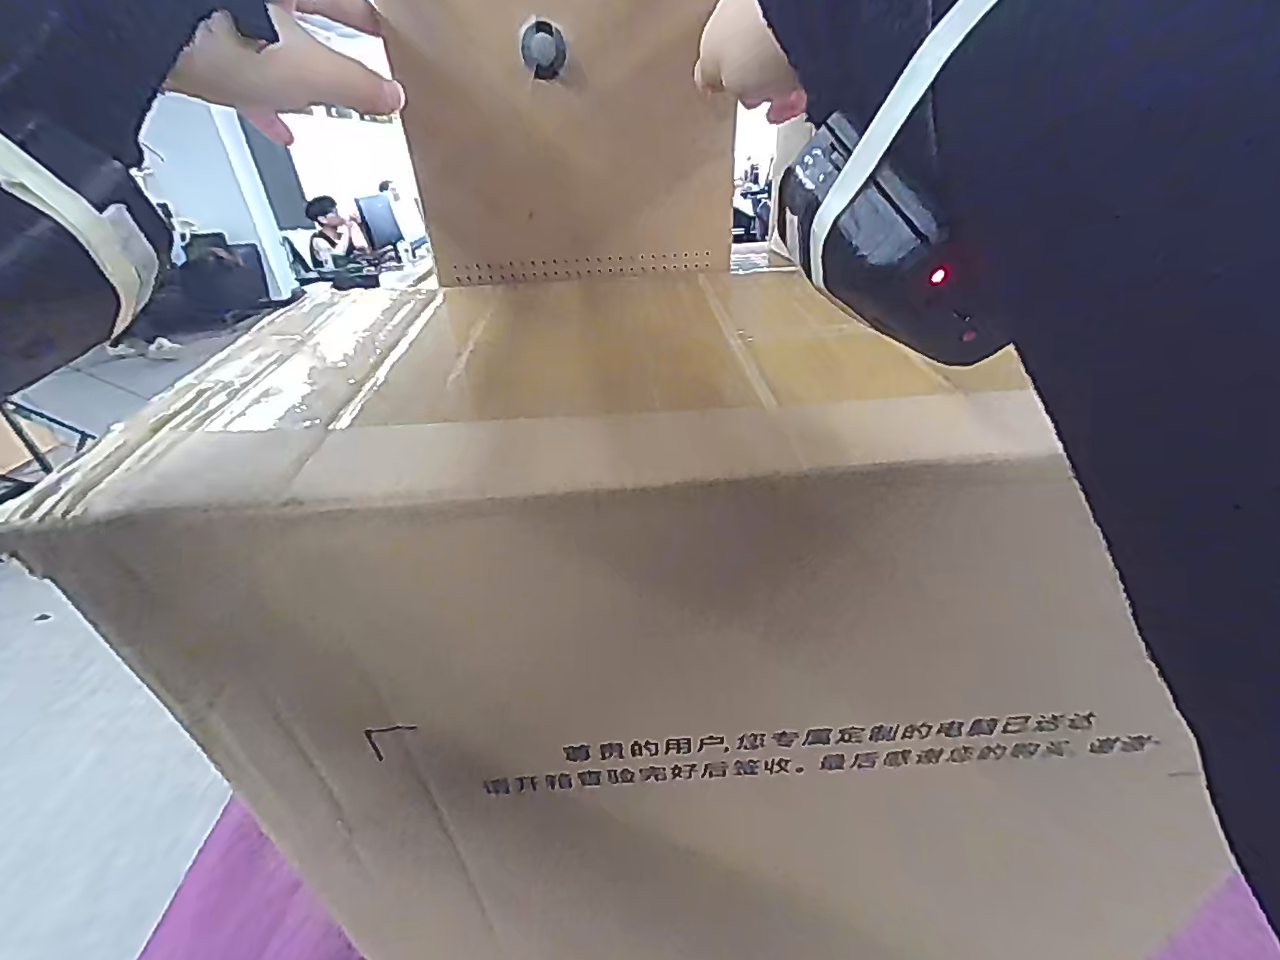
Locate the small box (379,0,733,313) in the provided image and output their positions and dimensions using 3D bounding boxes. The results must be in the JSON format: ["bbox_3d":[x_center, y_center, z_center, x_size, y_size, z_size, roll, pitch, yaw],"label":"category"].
[{"bbox_3d":[-0.041,-0.213,0.354,0.179,0.176,0.168,-2,33,-3],"label":"small box"}]

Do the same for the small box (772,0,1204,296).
[{"bbox_3d":[0.202,-0.236,0.371,0.179,0.176,0.168,-8,32,-4],"label":"small box"}]
